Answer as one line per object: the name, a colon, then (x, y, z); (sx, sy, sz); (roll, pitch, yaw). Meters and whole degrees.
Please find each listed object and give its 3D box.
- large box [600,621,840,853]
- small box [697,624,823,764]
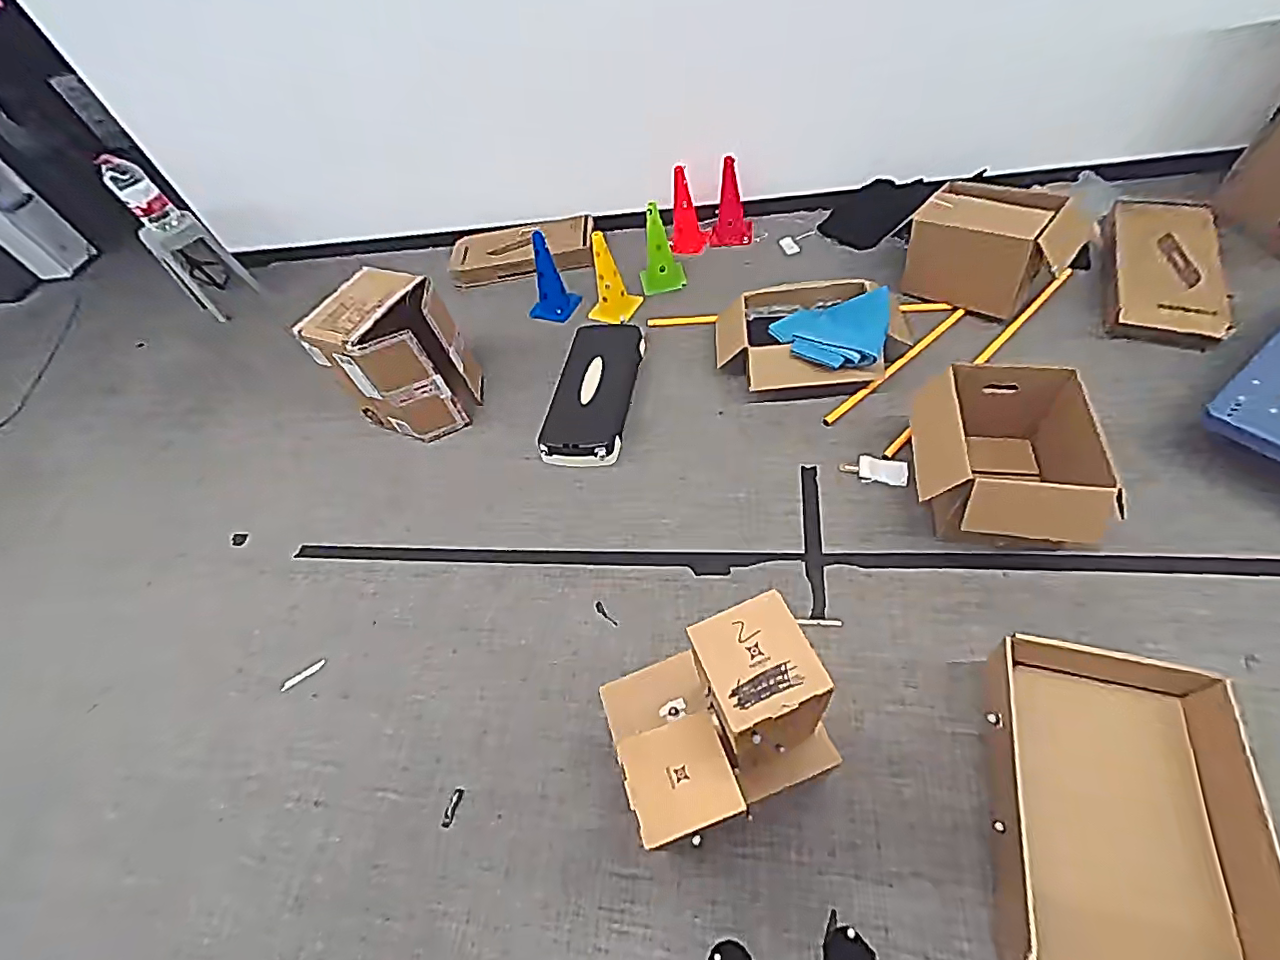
large box: (0.173, 0.581, 1.212); (0.408, 0.320, 0.320); (-22, 52, -4)
small box: (0.220, 0.407, 1.022); (0.168, 0.176, 0.179); (-23, 54, -4)
